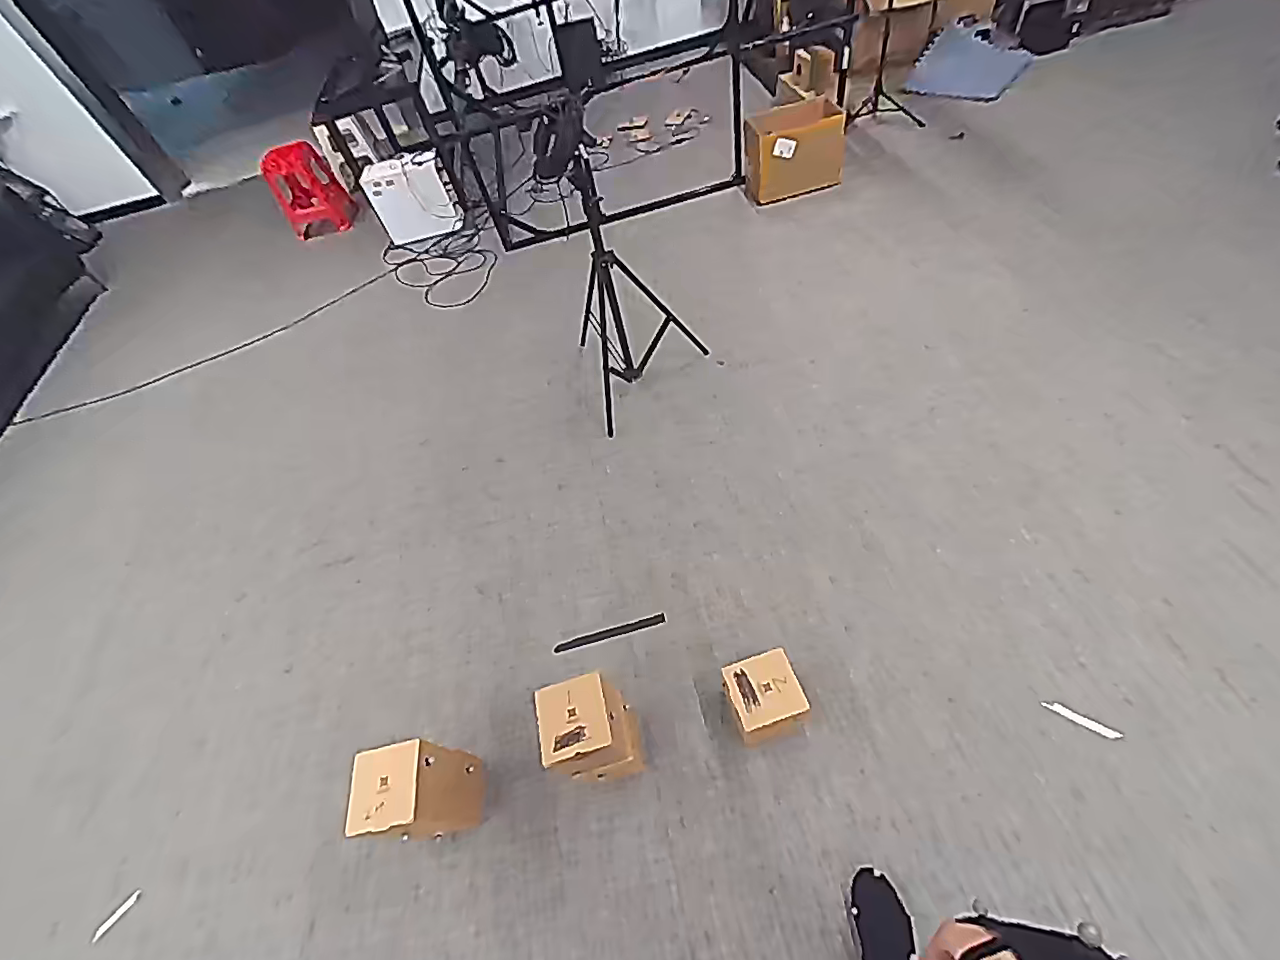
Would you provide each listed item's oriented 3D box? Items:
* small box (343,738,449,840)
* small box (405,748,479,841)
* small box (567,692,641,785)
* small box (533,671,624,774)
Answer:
[{"bbox_3d":[-0.575,0.746,1.300,0.168,0.176,0.179,-15,53,3],"label":"small box"},{"bbox_3d":[-0.538,0.836,1.432,0.168,0.176,0.179,-14,52,3],"label":"small box"},{"bbox_3d":[-0.104,0.694,1.440,0.168,0.176,0.179,-18,51,0],"label":"small box"},{"bbox_3d":[-0.146,0.596,1.314,0.168,0.176,0.179,-18,51,0],"label":"small box"}]
